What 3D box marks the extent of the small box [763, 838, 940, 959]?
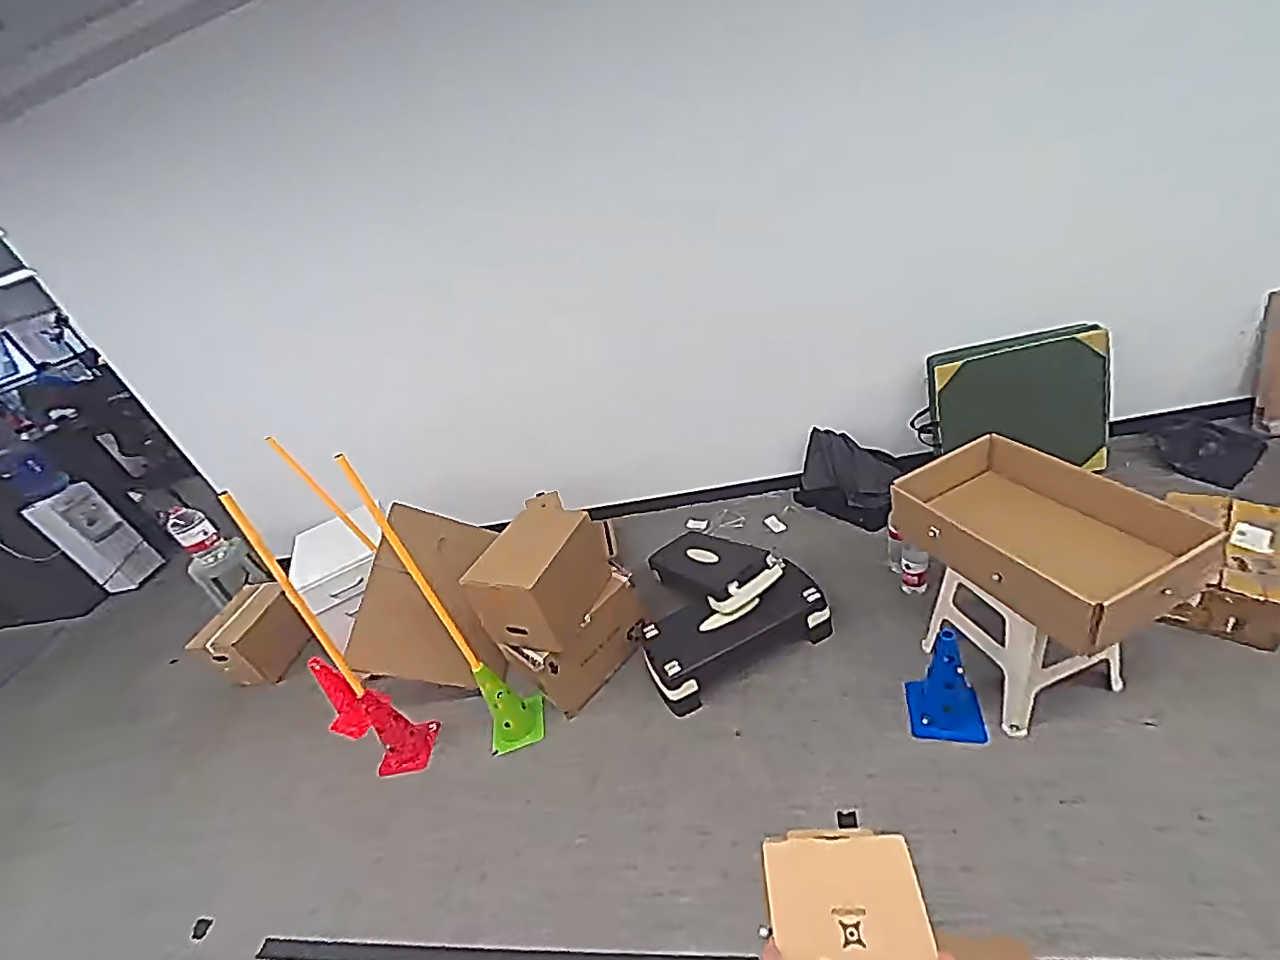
[{"bbox_3d":[0.236,0.542,0.623,0.168,0.176,0.179,-5,39,7],"label":"small box"}]
